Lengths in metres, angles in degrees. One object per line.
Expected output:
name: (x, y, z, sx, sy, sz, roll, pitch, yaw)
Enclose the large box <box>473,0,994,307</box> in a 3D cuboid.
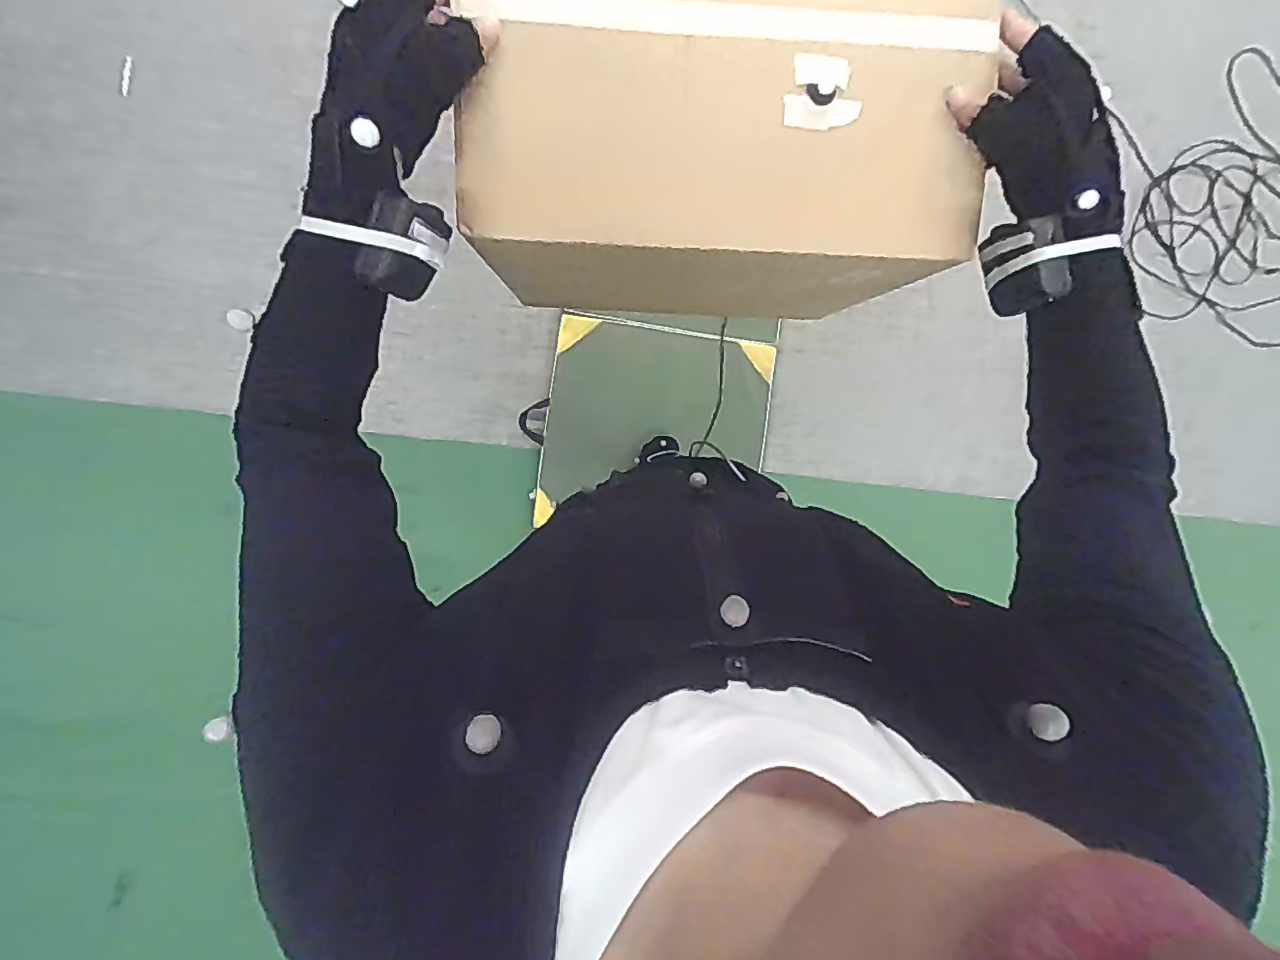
large box: (0.062, -0.364, 0.555, 0.408, 0.320, 0.320, 0, 99, -5)
